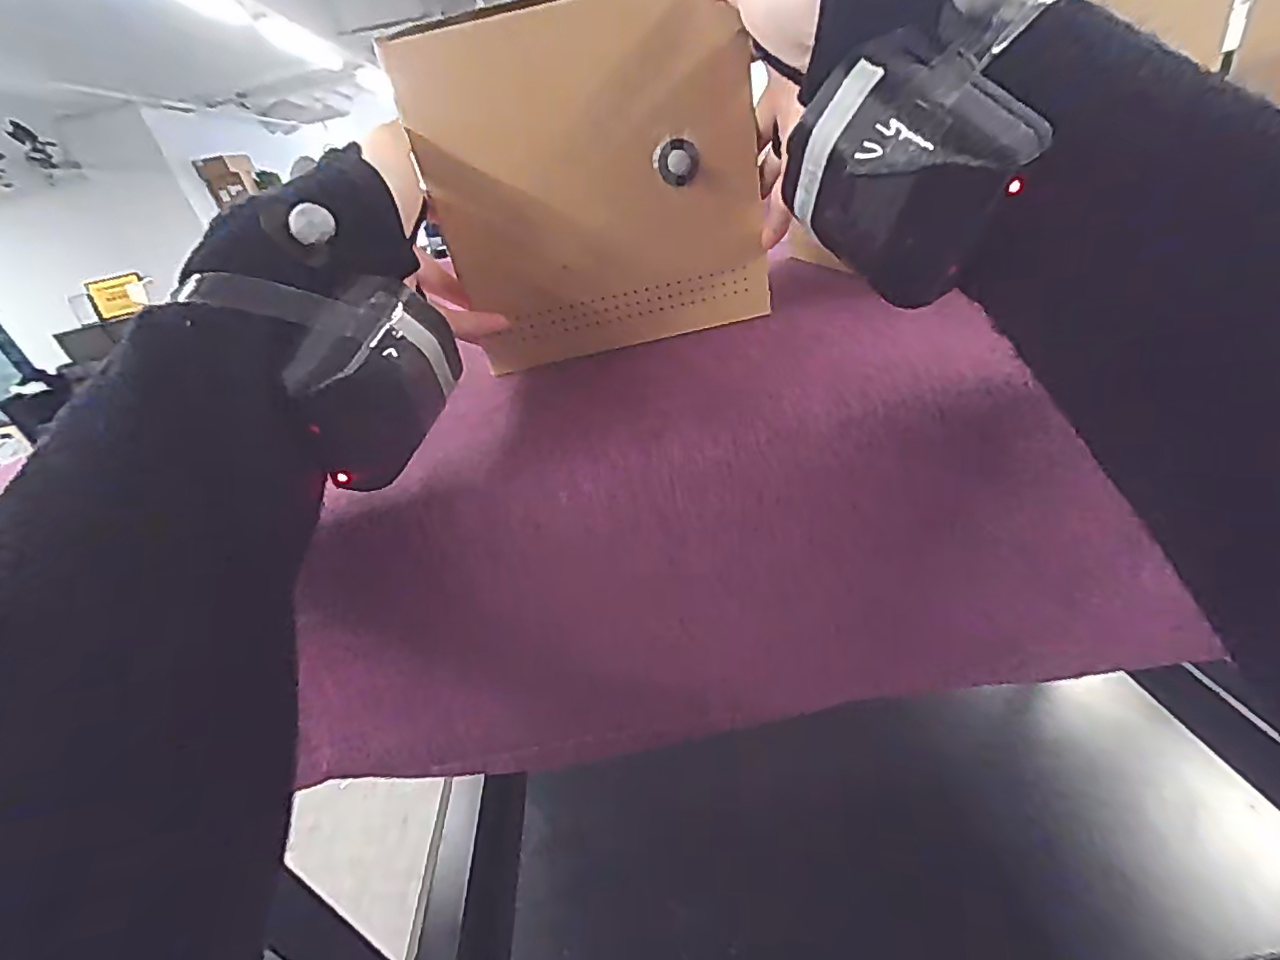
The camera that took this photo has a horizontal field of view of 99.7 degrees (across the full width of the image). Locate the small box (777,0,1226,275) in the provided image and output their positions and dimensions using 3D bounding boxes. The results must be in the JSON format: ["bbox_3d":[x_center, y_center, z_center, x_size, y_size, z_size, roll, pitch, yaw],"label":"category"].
[{"bbox_3d":[0.200,-0.234,0.332,0.168,0.176,0.179,-15,29,-3],"label":"small box"}]

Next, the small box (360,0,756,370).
[{"bbox_3d":[-0.030,-0.187,0.344,0.179,0.176,0.168,-13,30,1],"label":"small box"}]
